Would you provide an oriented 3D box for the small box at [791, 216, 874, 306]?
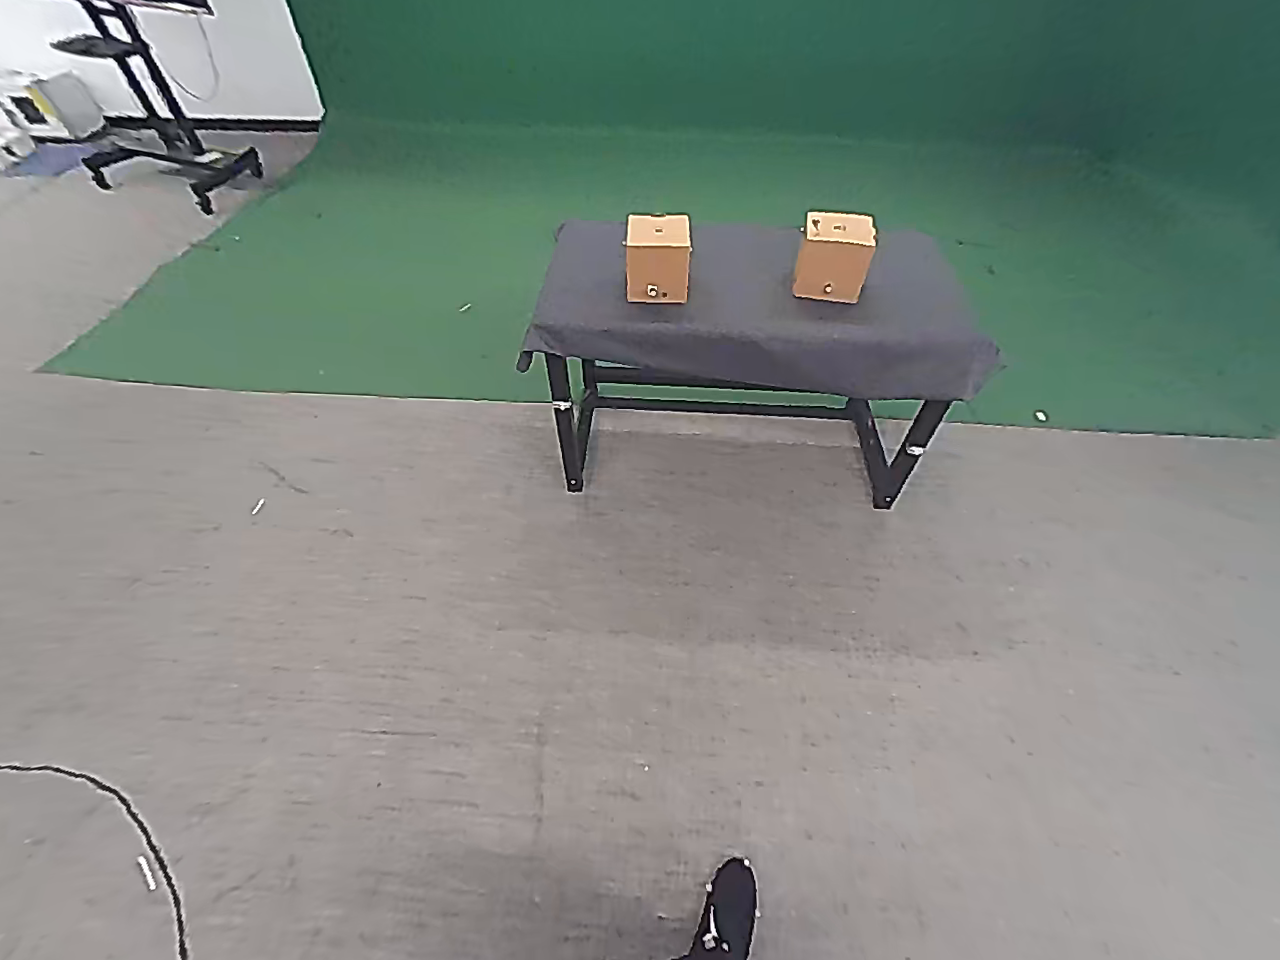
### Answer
[{"bbox_3d":[0.531,-0.604,1.504,0.179,0.176,0.168,10,51,7],"label":"small box"}]

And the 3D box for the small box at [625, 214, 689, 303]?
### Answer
[{"bbox_3d":[0.048,-0.607,1.482,0.168,0.176,0.179,1,50,3],"label":"small box"}]
